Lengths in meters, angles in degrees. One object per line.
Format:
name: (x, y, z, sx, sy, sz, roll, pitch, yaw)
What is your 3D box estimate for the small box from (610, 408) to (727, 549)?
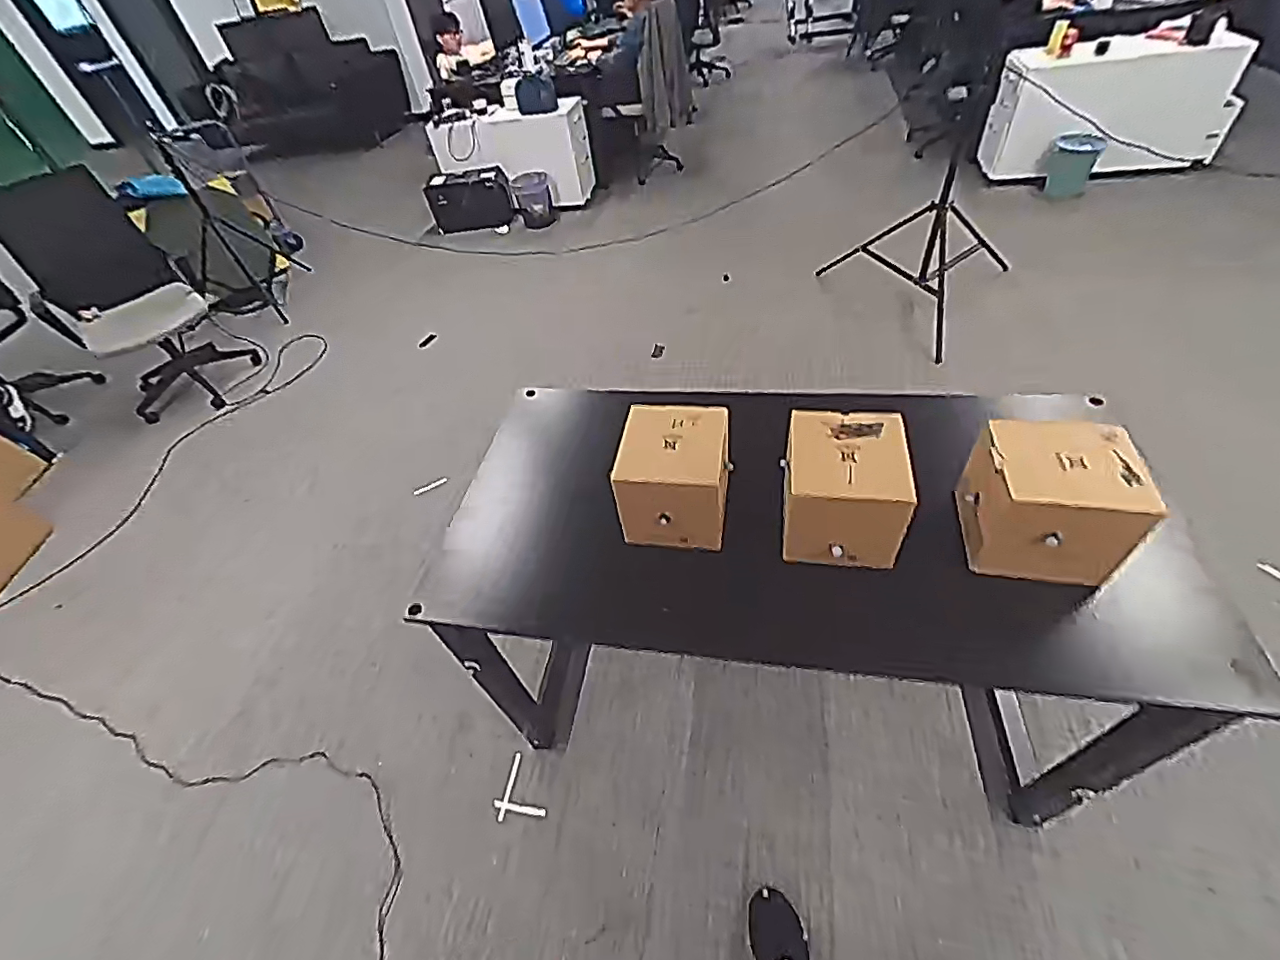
small box: (0.059, -0.001, 0.917, 0.168, 0.176, 0.179, 4, 48, 12)

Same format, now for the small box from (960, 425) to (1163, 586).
small box: (0.589, 0.038, 0.791, 0.179, 0.176, 0.168, 5, 48, 15)

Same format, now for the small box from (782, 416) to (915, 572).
small box: (0.315, 0.020, 0.854, 0.168, 0.176, 0.179, 3, 49, 13)
